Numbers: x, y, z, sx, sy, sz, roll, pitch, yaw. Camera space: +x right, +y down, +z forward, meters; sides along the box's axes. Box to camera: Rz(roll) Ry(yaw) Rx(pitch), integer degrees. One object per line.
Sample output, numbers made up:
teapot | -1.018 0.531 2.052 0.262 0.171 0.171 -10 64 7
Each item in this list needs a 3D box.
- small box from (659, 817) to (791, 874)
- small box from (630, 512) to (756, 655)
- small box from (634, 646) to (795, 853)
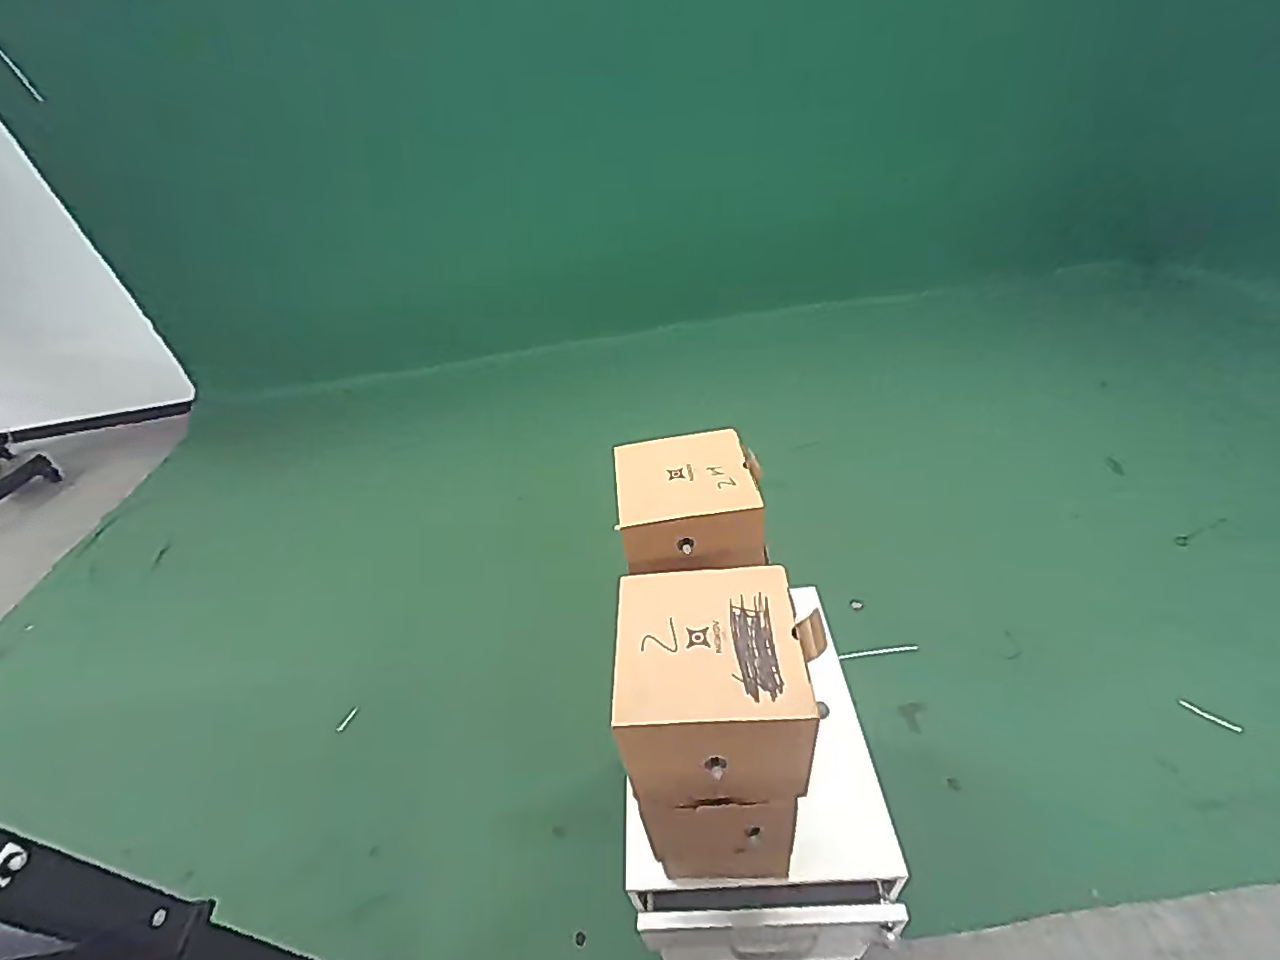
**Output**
small box | 0.112 0.440 0.771 0.179 0.176 0.168 -4 39 6
small box | 0.087 0.169 0.850 0.179 0.176 0.168 -3 40 6
small box | 0.085 0.329 0.656 0.168 0.176 0.179 -6 39 4
